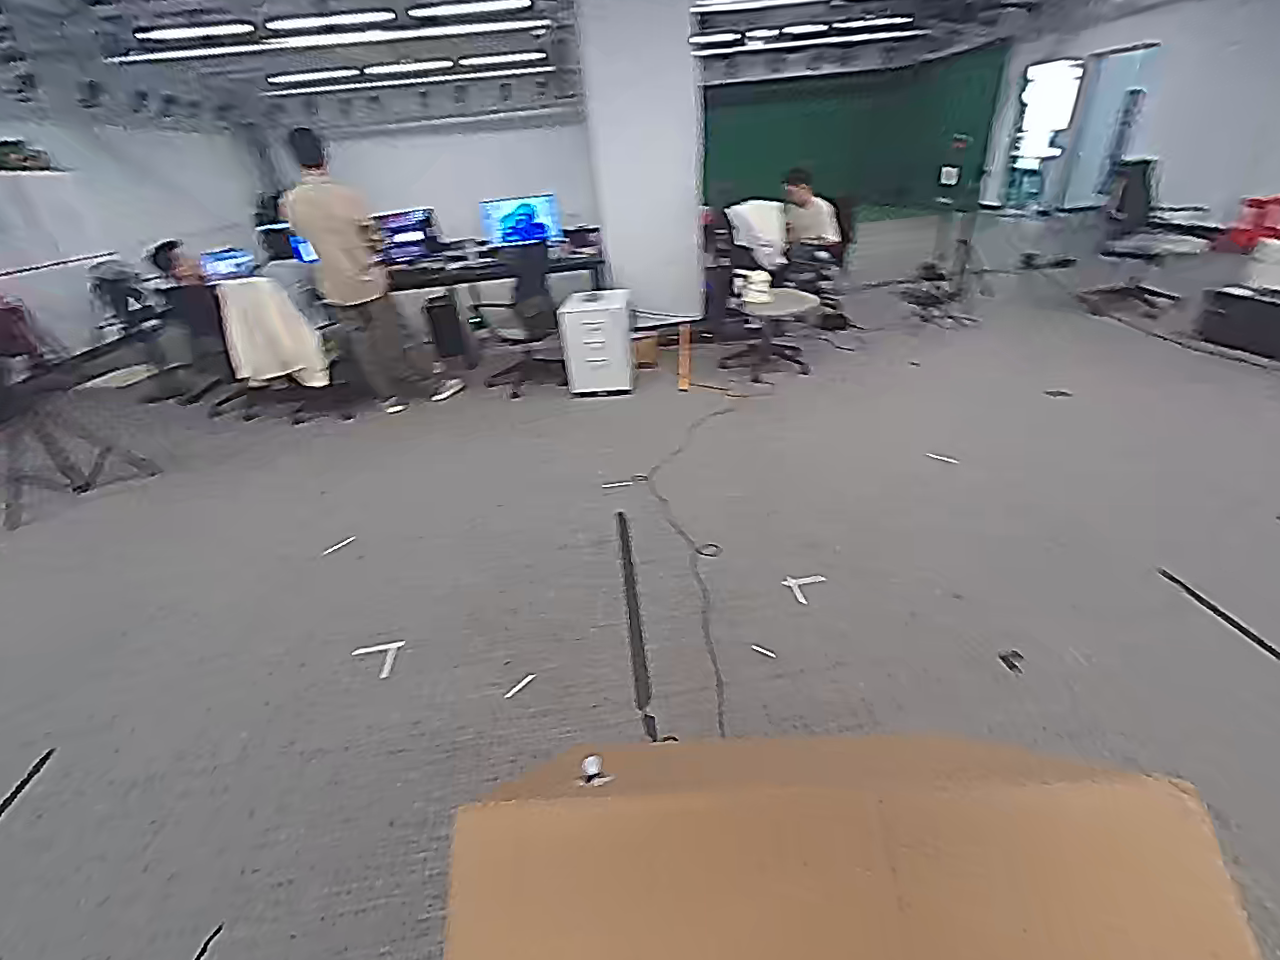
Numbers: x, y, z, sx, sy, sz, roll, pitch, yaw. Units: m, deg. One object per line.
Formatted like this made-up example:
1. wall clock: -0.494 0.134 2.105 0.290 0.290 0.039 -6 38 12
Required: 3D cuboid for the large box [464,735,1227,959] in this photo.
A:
1. large box: 0.116 0.377 0.401 0.408 0.320 0.320 -5 69 5
